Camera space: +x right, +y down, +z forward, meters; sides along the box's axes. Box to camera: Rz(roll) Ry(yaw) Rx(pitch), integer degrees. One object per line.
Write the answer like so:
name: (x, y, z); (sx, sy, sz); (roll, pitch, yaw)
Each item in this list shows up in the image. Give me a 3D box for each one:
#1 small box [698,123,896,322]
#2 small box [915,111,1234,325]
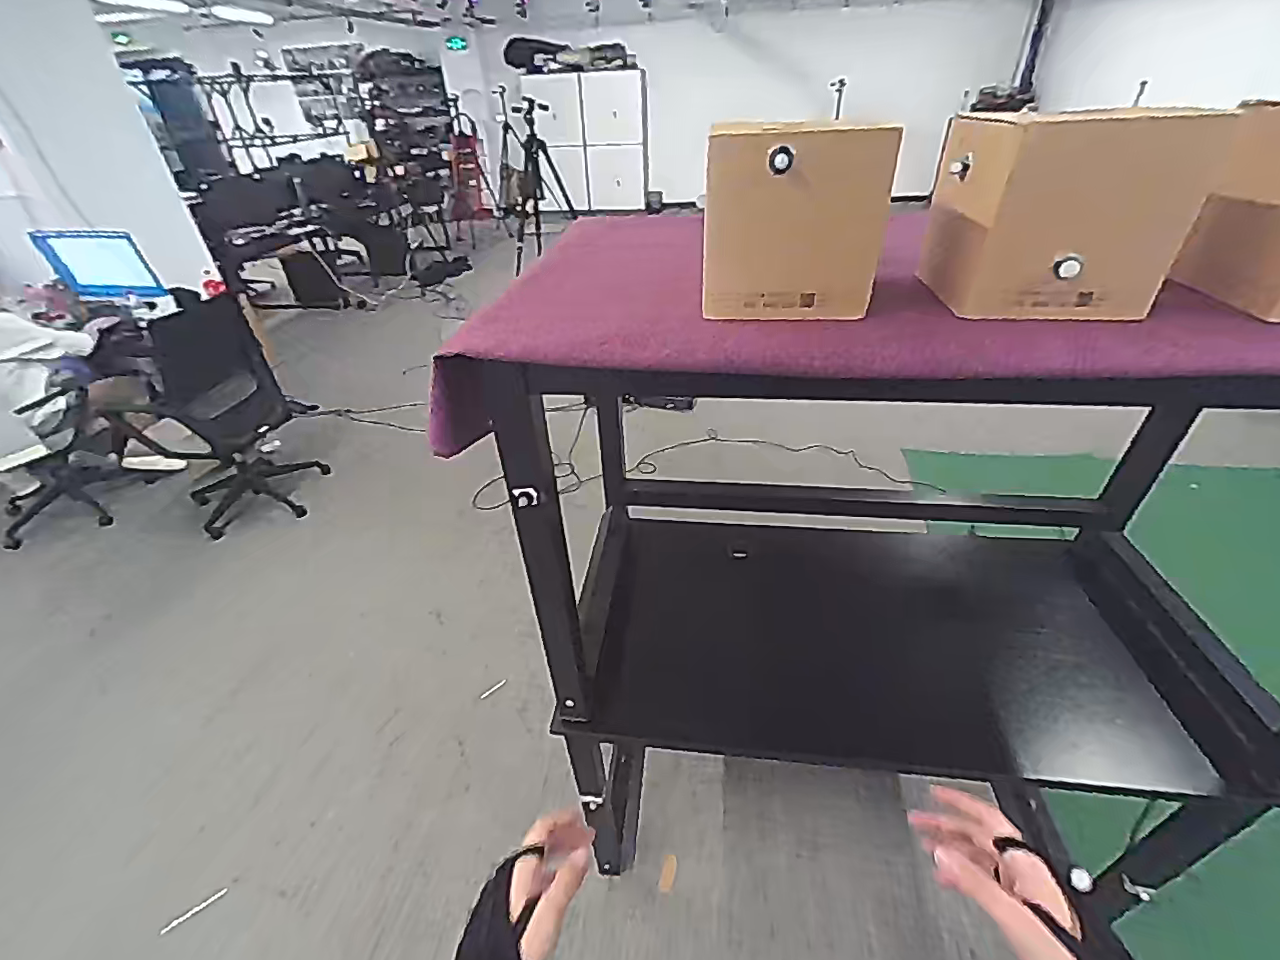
small box: (0.149, -0.278, 0.578); (0.168, 0.176, 0.179); (2, 34, 7)
small box: (0.400, -0.268, 0.547); (0.168, 0.176, 0.179); (3, 36, 8)
